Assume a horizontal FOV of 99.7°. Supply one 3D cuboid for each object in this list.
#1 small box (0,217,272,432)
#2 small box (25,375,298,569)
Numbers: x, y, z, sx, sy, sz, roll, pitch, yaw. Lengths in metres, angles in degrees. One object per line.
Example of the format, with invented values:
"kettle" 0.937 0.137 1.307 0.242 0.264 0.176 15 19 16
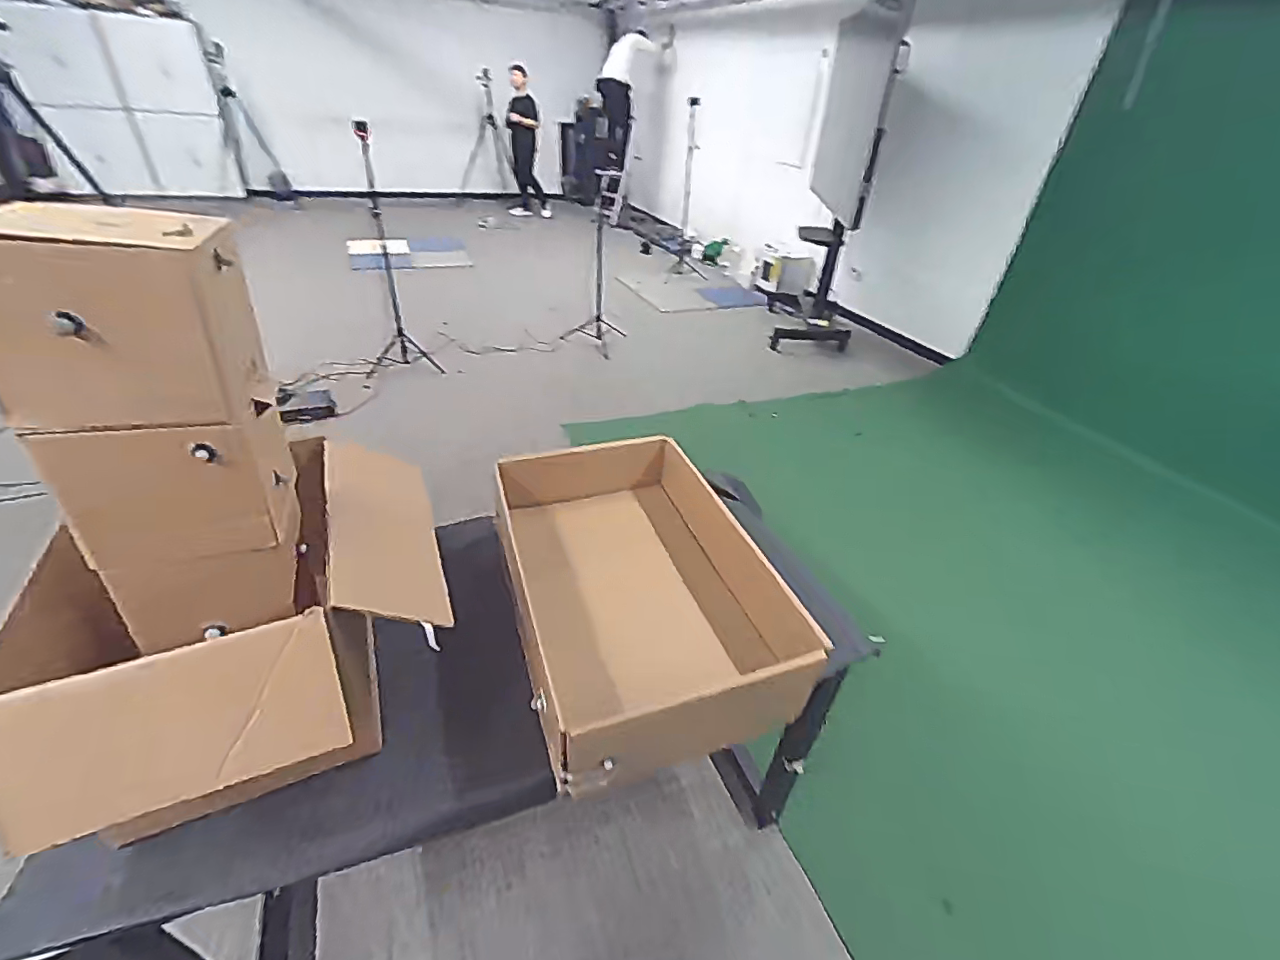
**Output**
"small box" -0.501 -0.156 0.541 0.179 0.176 0.168 -6 34 -21
"small box" -0.520 -0.015 0.625 0.179 0.176 0.168 -6 34 -23
